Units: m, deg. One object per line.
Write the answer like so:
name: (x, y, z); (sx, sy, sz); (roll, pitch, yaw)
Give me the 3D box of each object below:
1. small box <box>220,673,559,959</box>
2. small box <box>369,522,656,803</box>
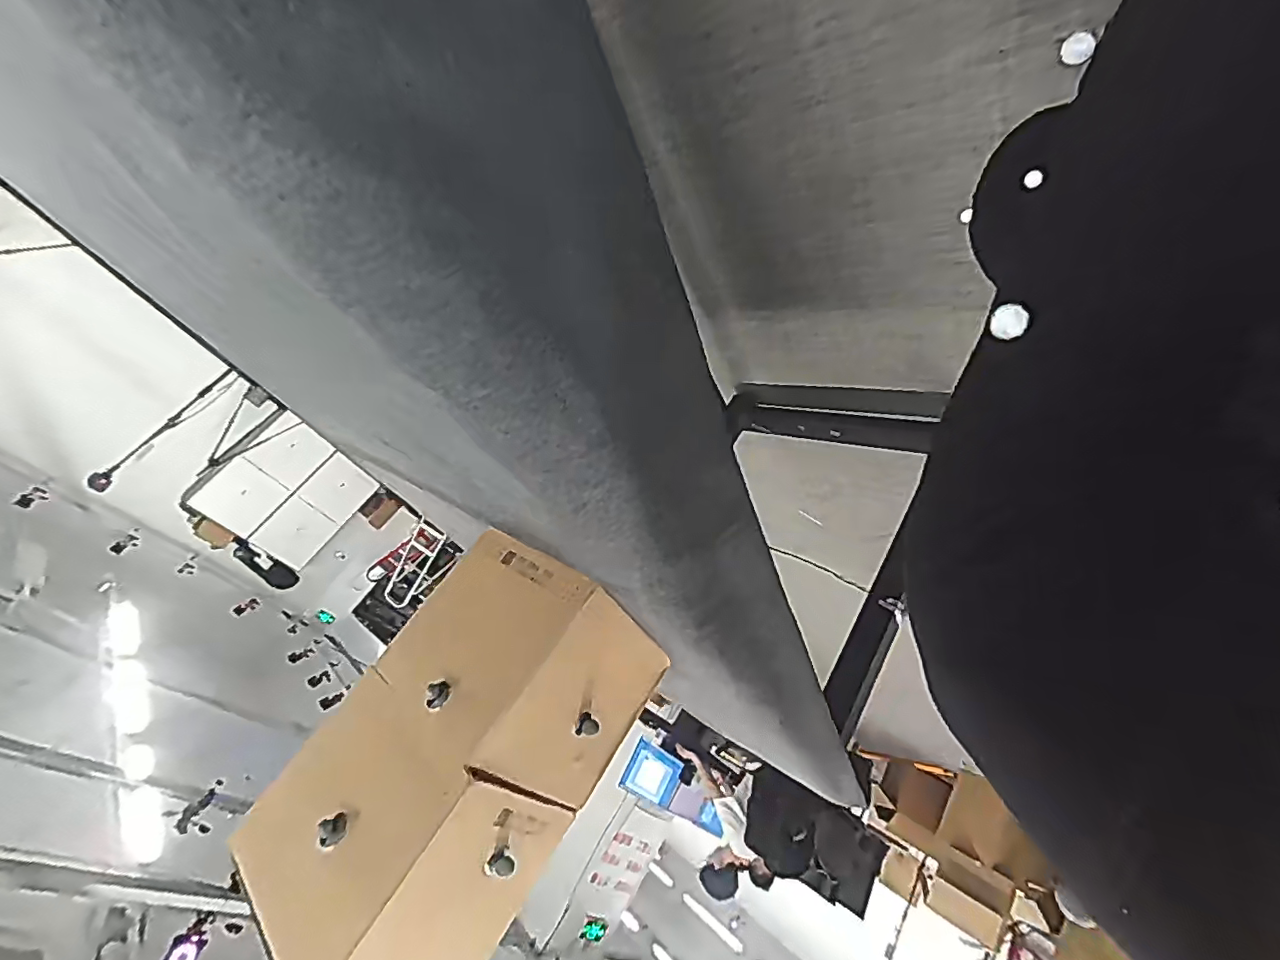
small box: (-0.206, 0.294, 0.473); (0.179, 0.176, 0.168); (19, 153, 38)
small box: (-0.111, 0.171, 0.529); (0.168, 0.176, 0.179); (18, 153, 41)
